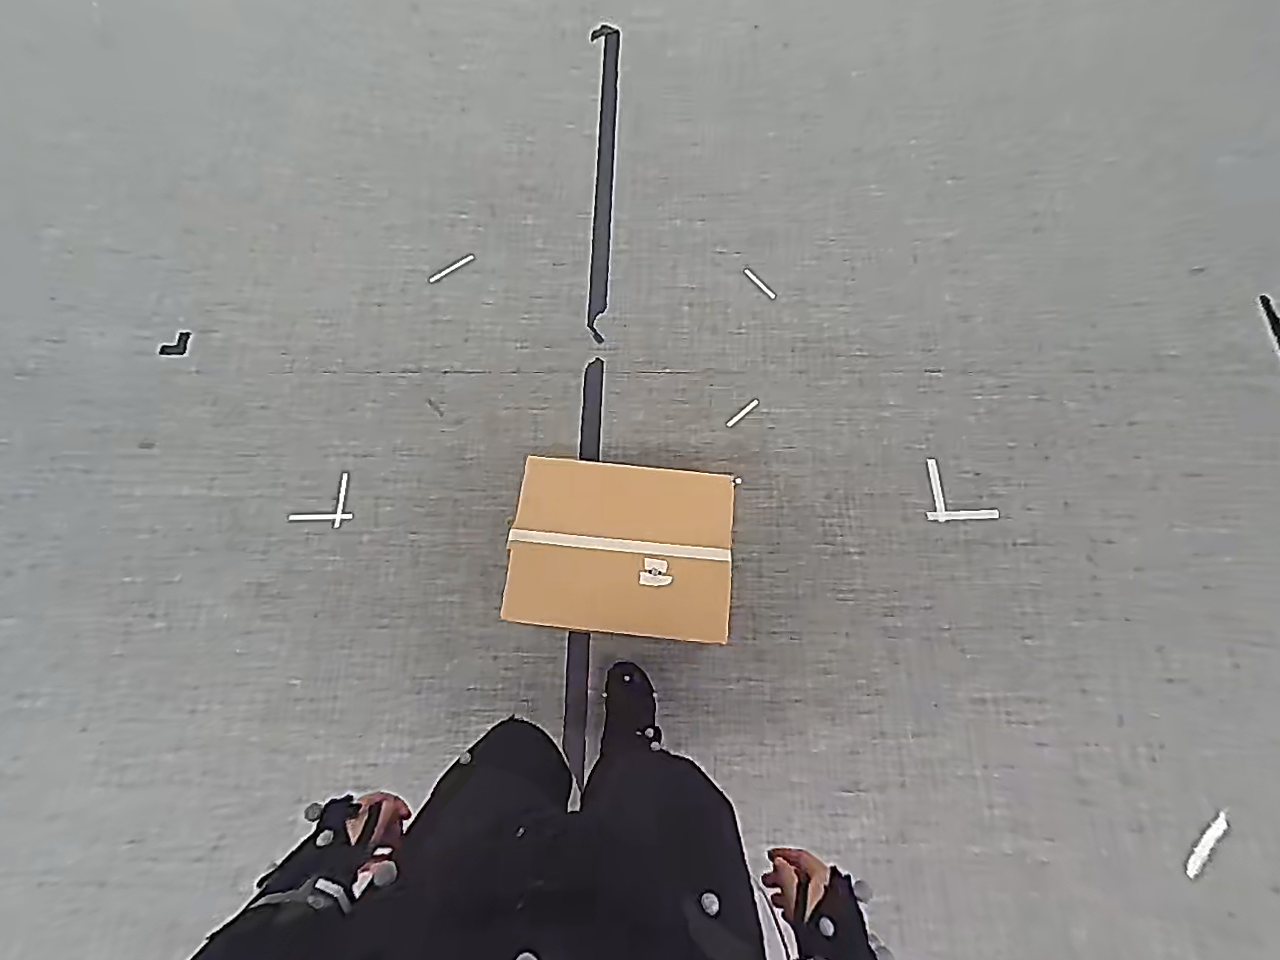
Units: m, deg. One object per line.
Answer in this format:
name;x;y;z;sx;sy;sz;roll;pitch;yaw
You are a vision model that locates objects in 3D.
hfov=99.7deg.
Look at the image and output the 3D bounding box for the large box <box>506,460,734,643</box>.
large box;-0.034;0.167;1.138;0.408;0.320;0.320;6;74;1
